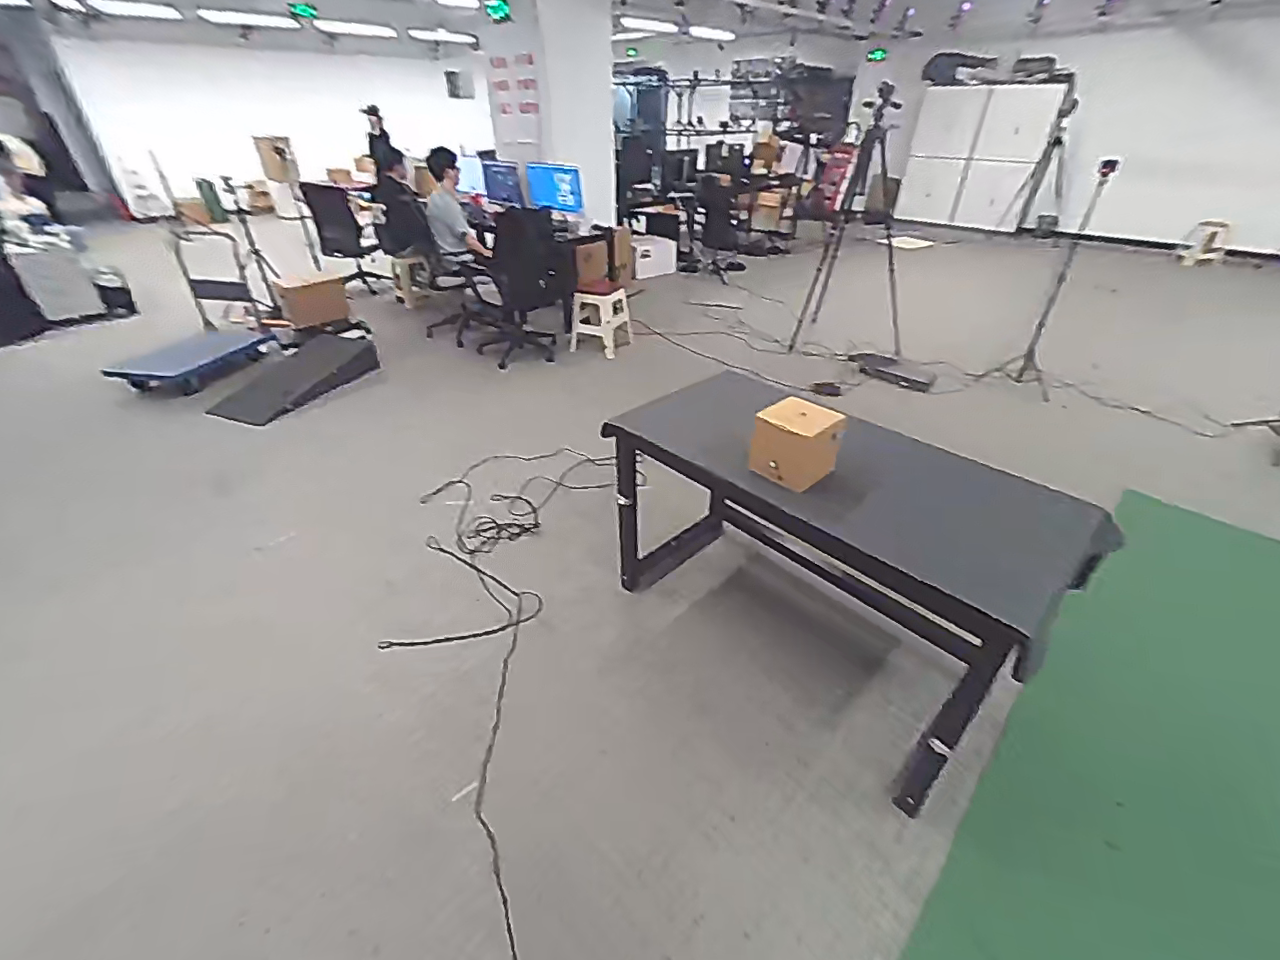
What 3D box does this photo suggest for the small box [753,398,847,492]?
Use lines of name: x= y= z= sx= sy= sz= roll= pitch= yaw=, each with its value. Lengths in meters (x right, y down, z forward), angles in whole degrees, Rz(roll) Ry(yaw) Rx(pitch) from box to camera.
small box: x=0.418 y=-0.095 z=1.438 sx=0.179 sy=0.176 sz=0.168 roll=-27 pitch=41 yaw=-34
